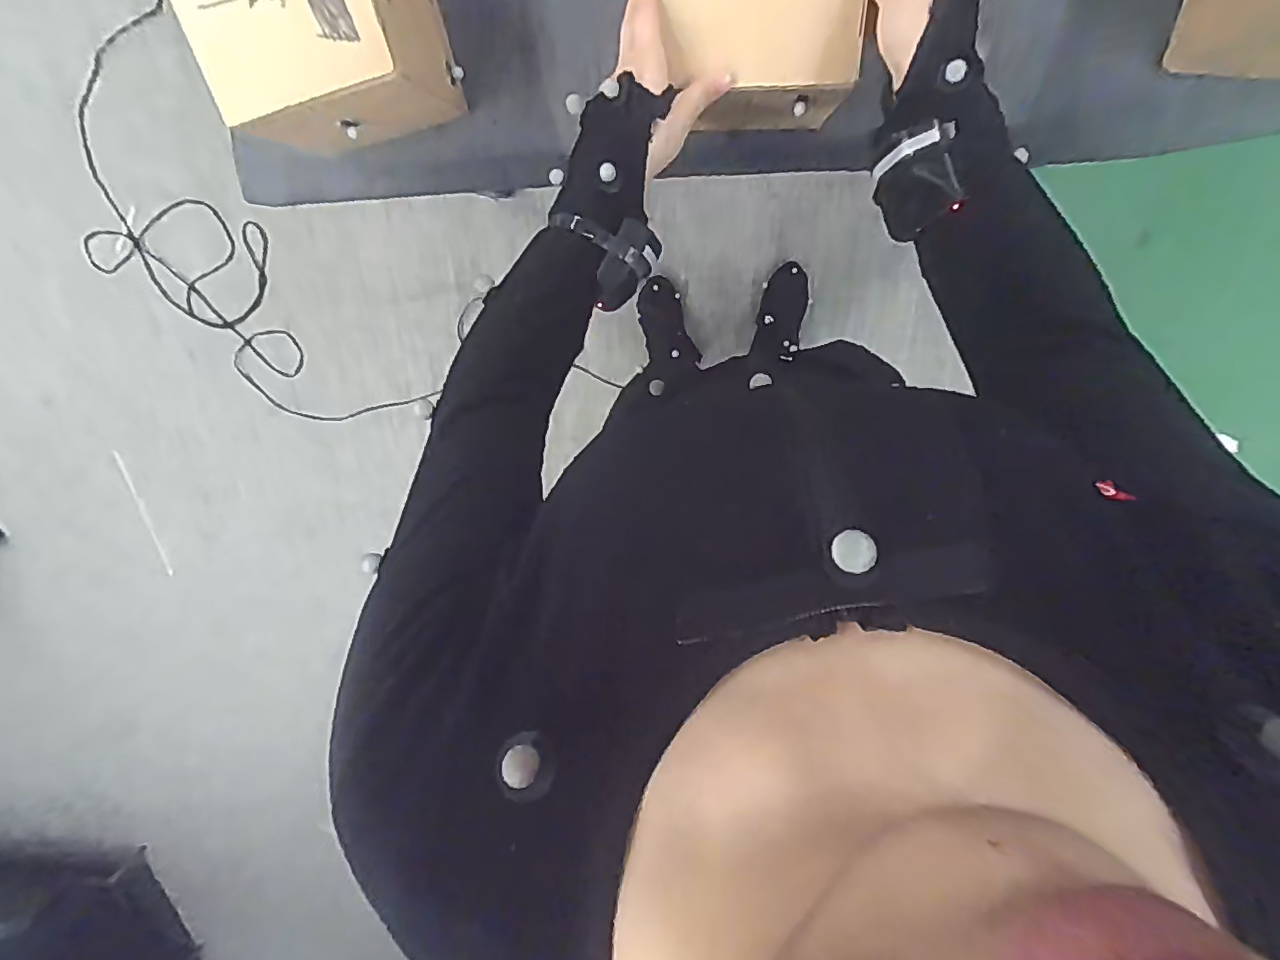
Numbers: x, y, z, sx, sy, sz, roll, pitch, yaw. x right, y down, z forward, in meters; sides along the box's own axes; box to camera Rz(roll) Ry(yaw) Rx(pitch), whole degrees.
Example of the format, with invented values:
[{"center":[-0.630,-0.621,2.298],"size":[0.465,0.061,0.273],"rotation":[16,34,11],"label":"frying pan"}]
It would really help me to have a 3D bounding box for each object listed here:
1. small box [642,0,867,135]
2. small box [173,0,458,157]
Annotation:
[{"center":[0.098,-0.423,0.488],"size":[0.179,0.176,0.168],"rotation":[2,113,6],"label":"small box"},{"center":[-0.298,-0.433,0.522],"size":[0.179,0.176,0.168],"rotation":[-9,112,10],"label":"small box"}]
